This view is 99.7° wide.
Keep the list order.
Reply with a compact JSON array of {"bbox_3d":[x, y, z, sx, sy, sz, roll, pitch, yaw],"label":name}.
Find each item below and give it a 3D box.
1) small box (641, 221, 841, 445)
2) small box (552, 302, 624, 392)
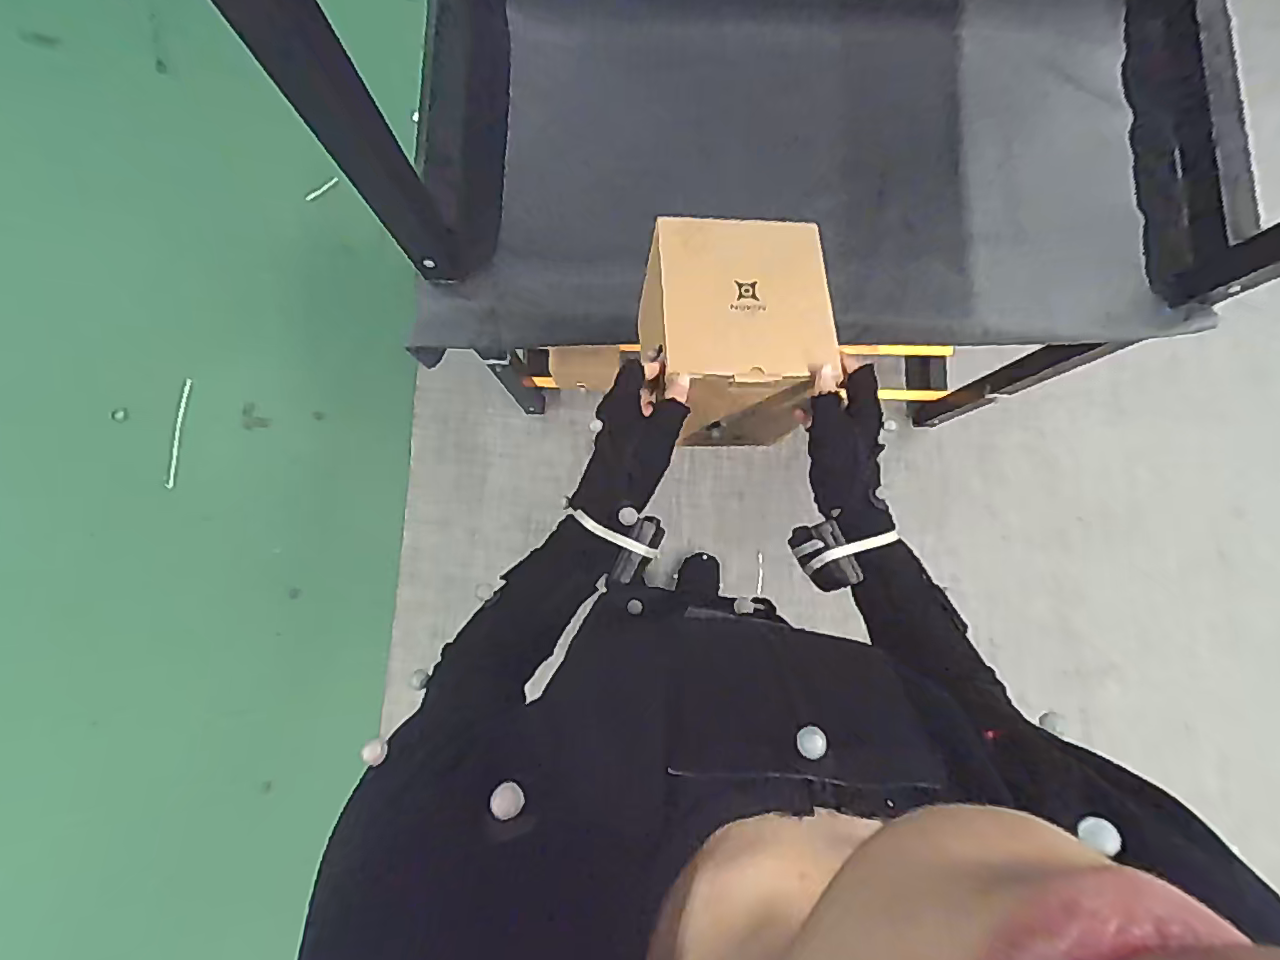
[{"bbox_3d":[0.093,-0.150,0.593,0.168,0.176,0.179,-1,72,-6],"label":"small box"},{"bbox_3d":[-0.128,-0.333,1.377,0.168,0.176,0.179,1,84,0],"label":"small box"}]
